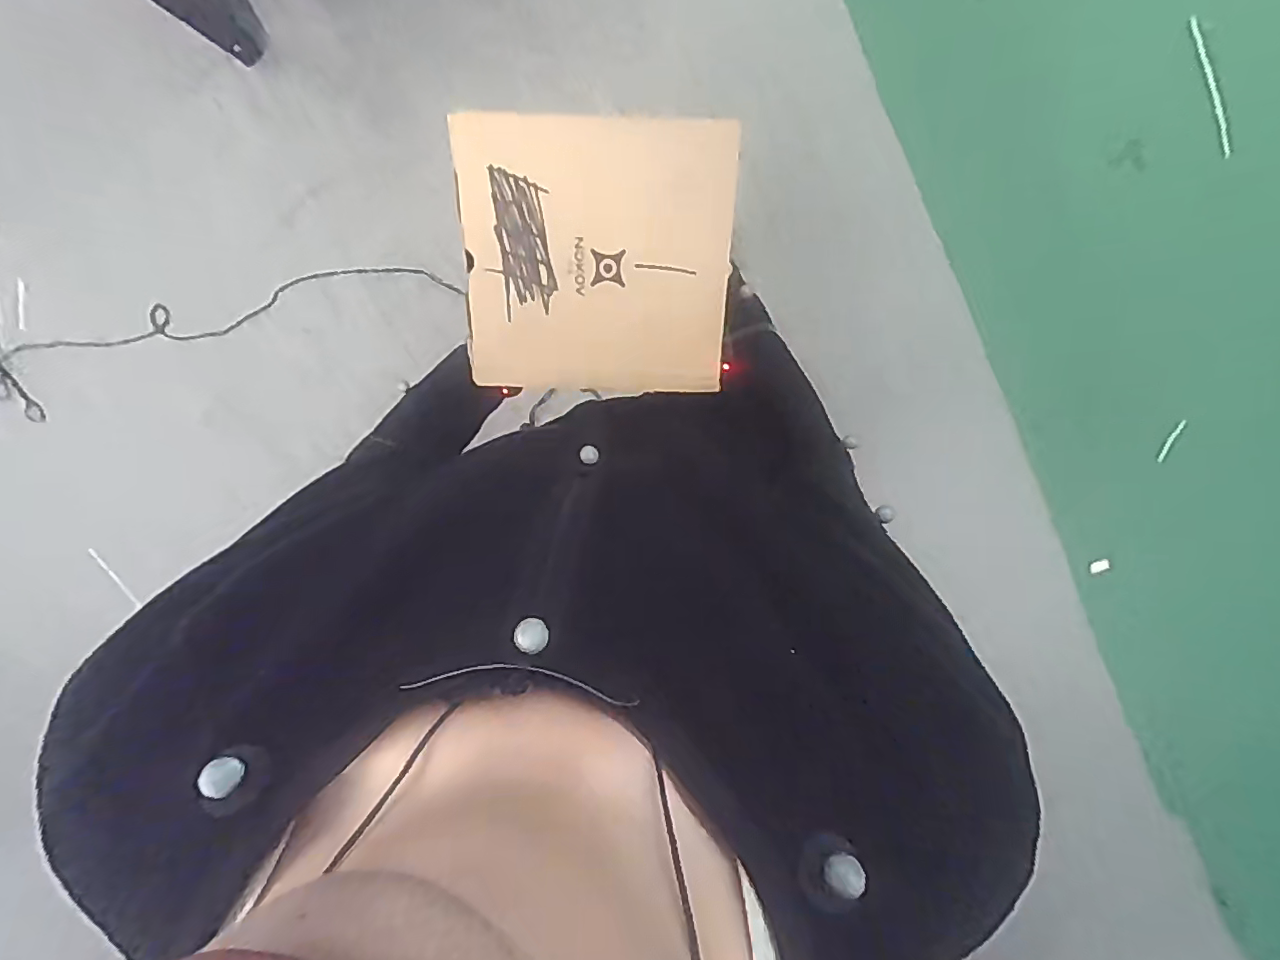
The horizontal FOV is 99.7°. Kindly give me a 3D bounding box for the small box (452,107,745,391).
[{"bbox_3d":[-0.027,-0.172,0.422,0.179,0.176,0.168,2,114,-1],"label":"small box"}]

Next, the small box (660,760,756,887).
[{"bbox_3d":[0.149,0.779,1.242,0.179,0.176,0.168,-15,102,5],"label":"small box"}]
